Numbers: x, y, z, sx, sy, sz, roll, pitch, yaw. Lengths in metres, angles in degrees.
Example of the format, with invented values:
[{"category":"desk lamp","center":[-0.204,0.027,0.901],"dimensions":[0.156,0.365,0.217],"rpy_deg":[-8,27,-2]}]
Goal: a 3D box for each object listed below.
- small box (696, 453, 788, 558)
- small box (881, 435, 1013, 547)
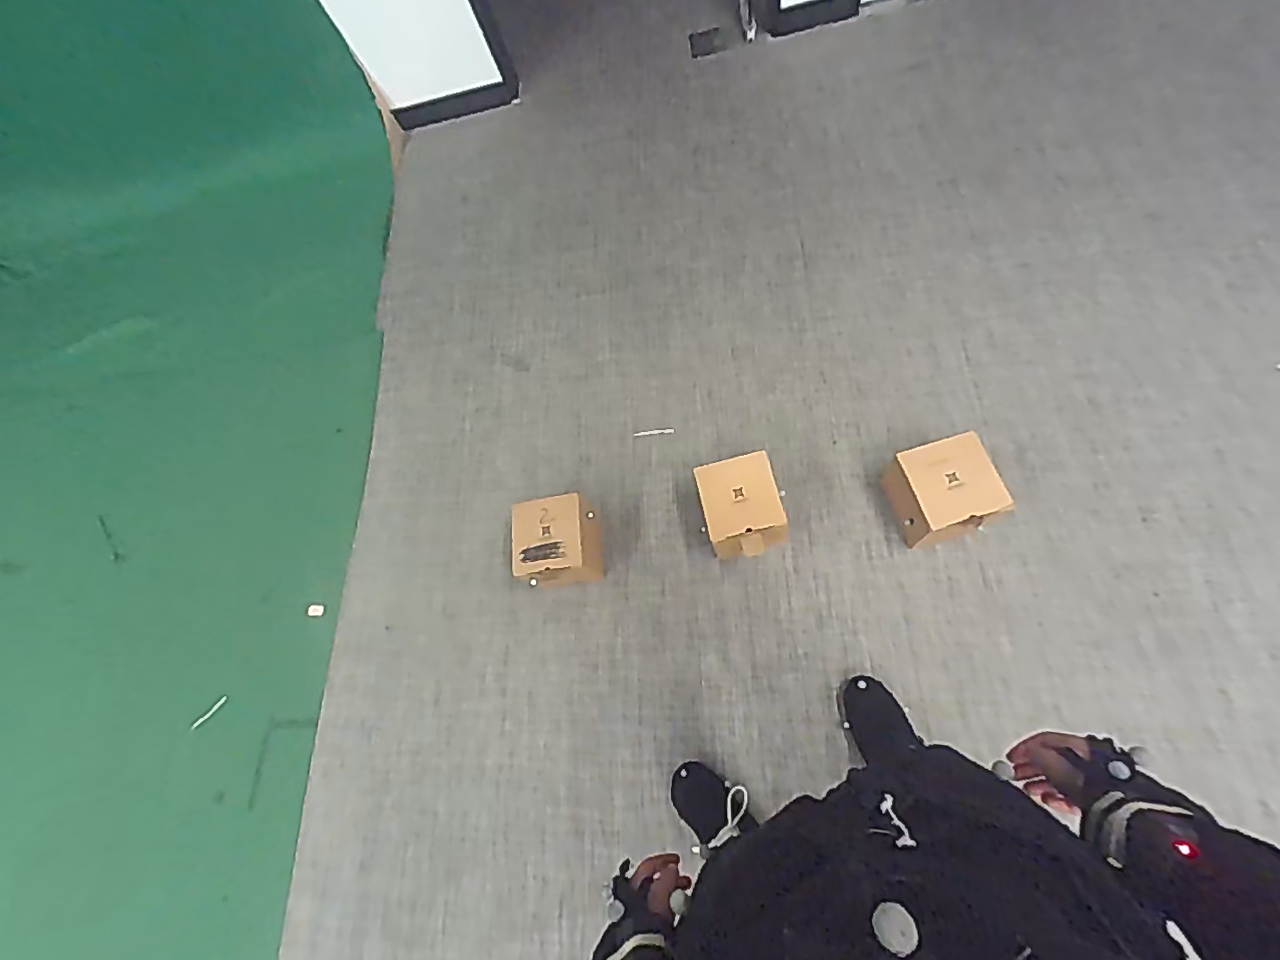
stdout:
[{"category":"small box","center":[0.231,0.064,1.238],"dimensions":[0.168,0.176,0.179],"rpy_deg":[-15,68,7]},{"category":"small box","center":[0.642,0.033,1.157],"dimensions":[0.168,0.176,0.179],"rpy_deg":[-17,66,5]}]
